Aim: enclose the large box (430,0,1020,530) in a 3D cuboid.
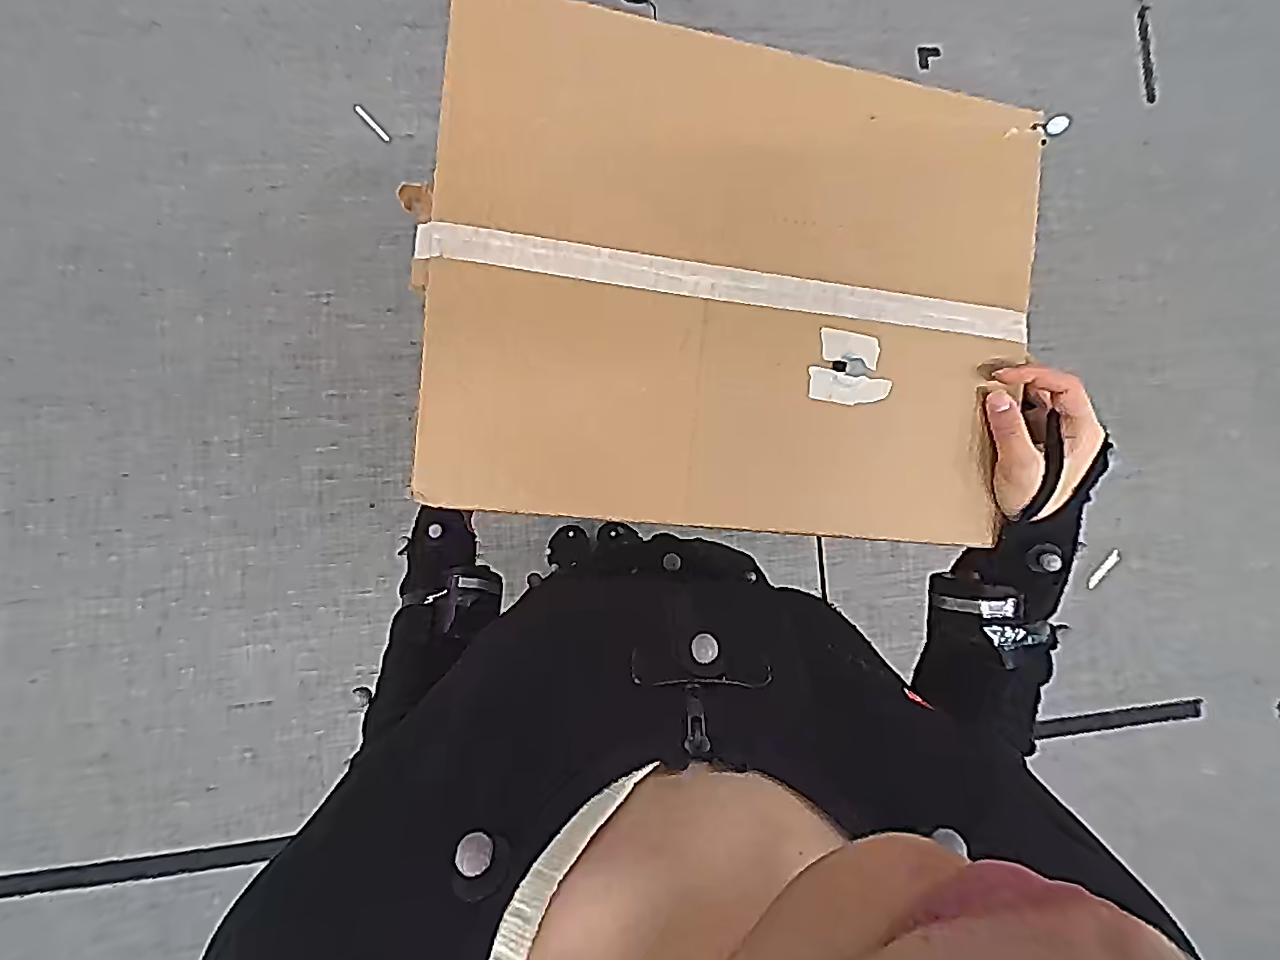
[{"bbox_3d":[0.046,-0.130,0.506,0.408,0.320,0.320,5,91,-11],"label":"large box"}]
